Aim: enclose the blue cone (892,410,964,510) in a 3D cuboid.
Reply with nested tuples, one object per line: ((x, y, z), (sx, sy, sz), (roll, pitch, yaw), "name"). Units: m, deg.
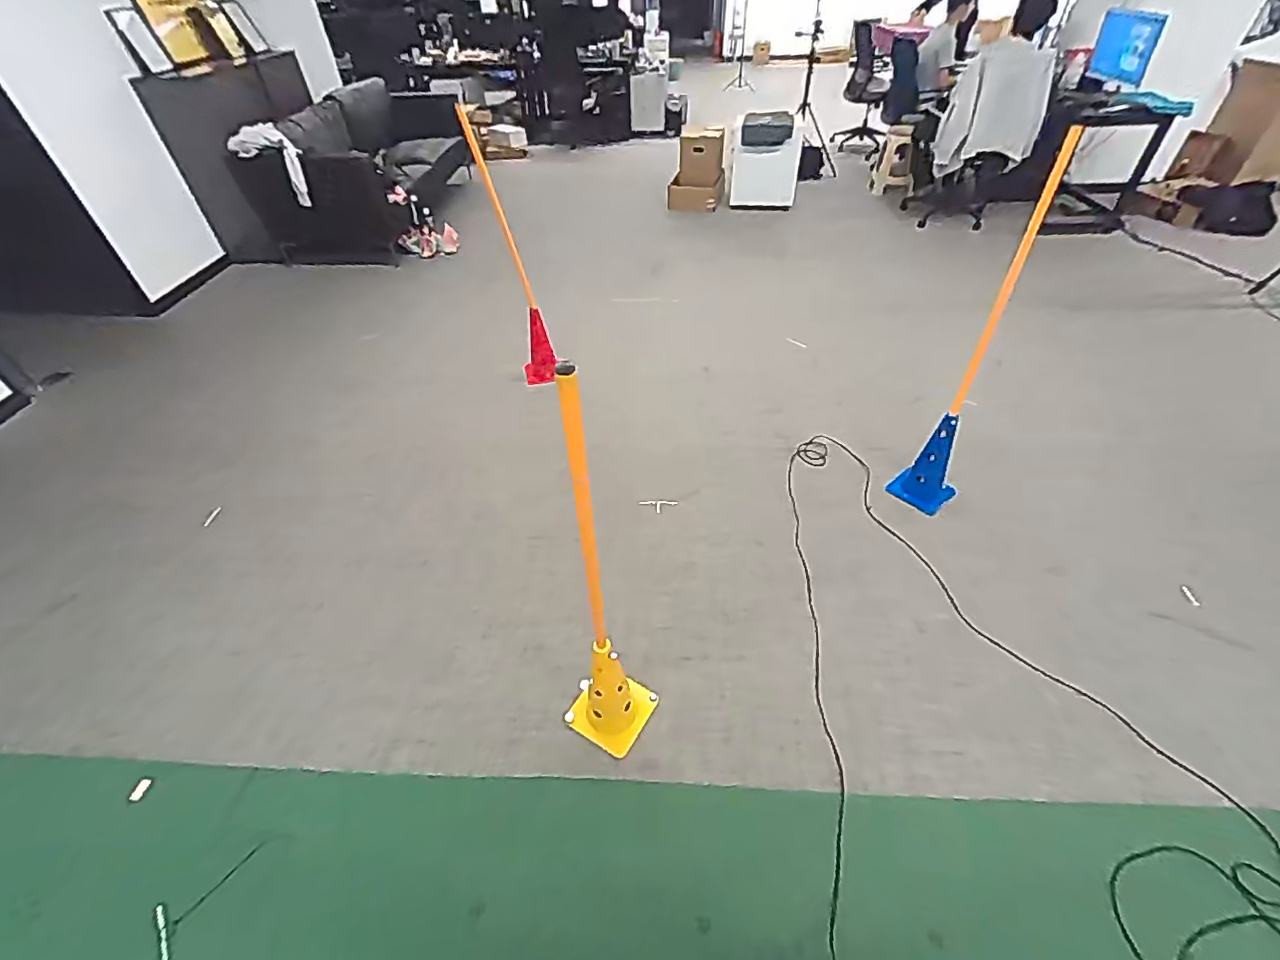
((1.087, -0.093, 1.980), (0.193, 0.380, 0.192), (-31, 49, -30), "blue cone")
